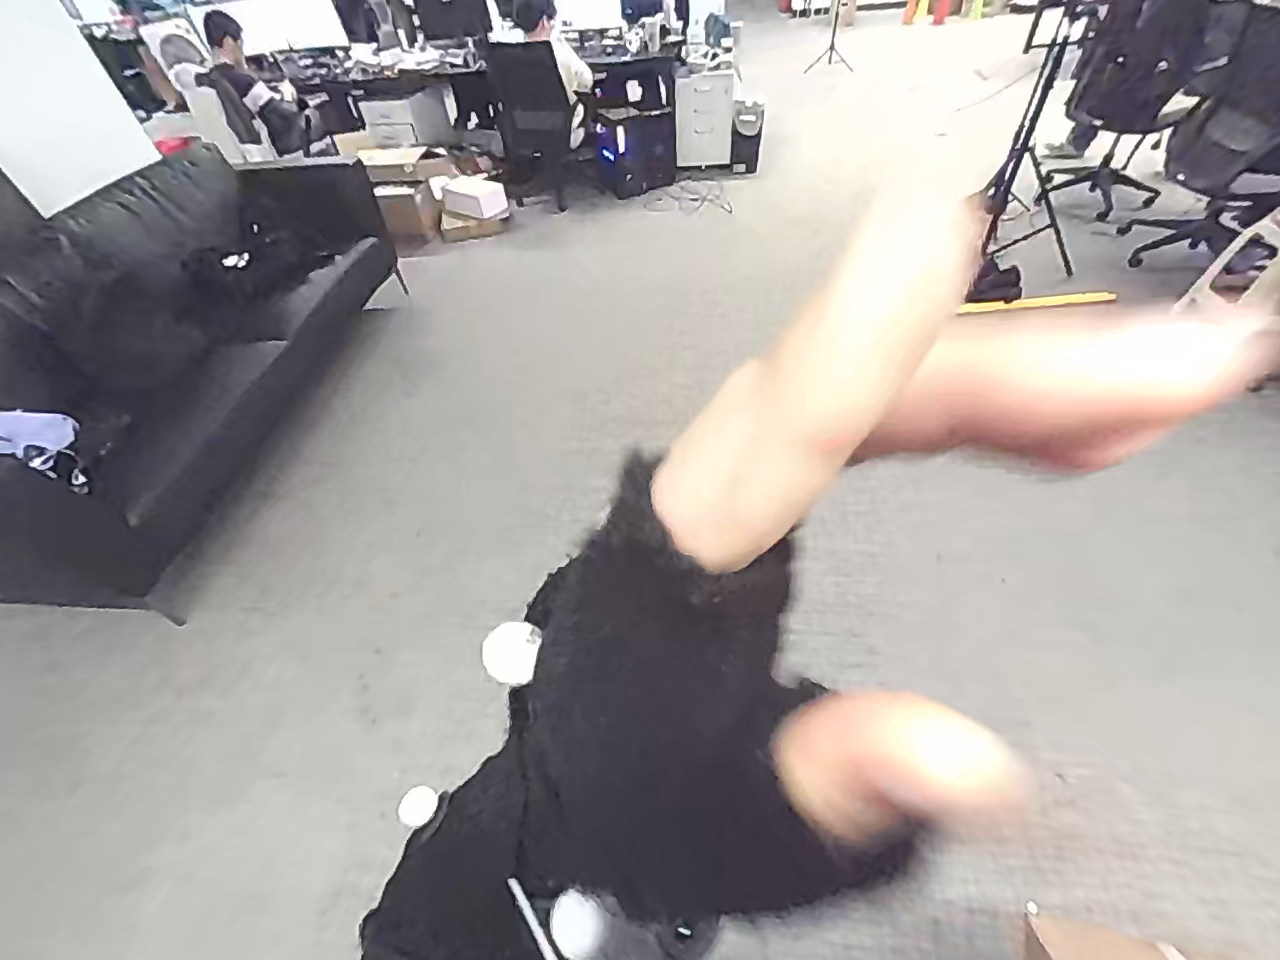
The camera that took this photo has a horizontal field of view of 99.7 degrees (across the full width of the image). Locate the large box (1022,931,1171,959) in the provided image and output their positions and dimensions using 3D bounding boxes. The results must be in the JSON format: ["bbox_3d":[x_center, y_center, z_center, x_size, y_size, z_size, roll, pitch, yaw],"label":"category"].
[{"bbox_3d":[0.621,0.769,0.516,0.320,0.408,0.320,5,86,15],"label":"large box"}]
